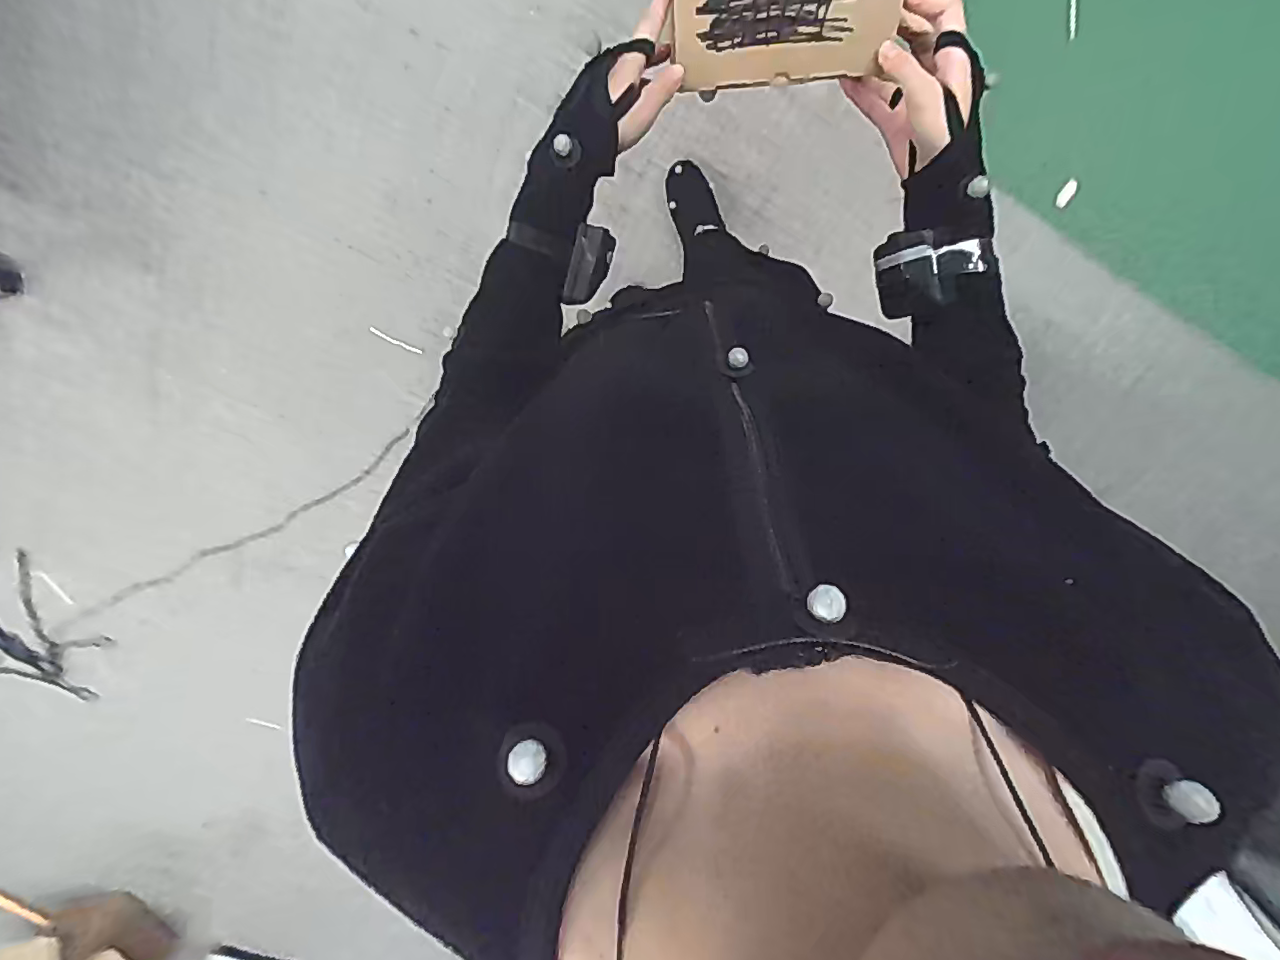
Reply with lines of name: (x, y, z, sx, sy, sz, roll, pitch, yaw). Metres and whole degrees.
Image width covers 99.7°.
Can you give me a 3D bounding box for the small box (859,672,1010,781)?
small box: (0.581, 0.521, 1.095, 0.179, 0.176, 0.168, 32, 110, -14)
